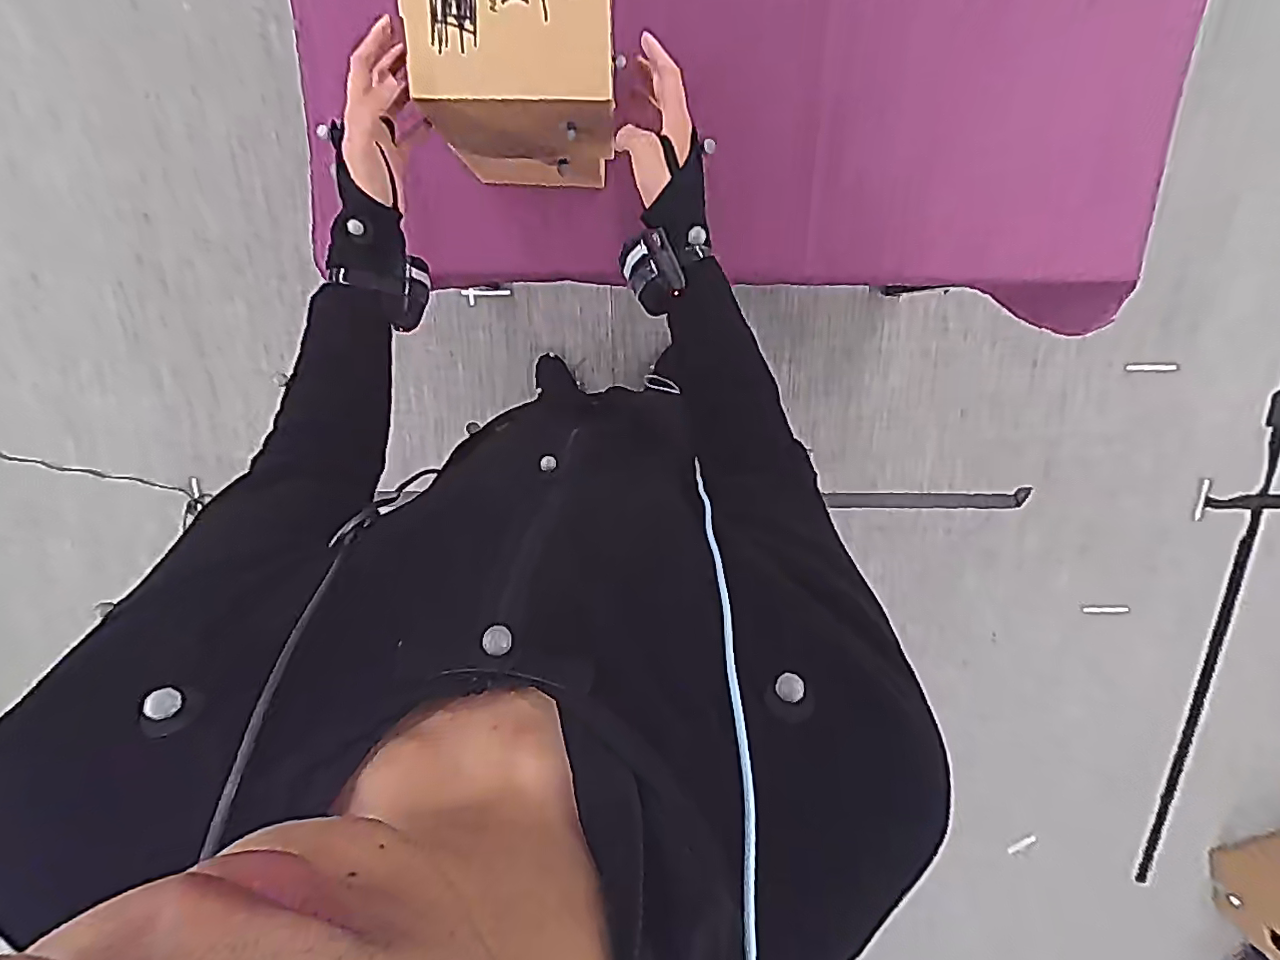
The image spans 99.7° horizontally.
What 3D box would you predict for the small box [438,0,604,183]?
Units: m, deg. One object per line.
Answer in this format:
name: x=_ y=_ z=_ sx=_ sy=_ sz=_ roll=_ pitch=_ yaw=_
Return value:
small box: x=-0.134 y=-0.480 z=0.668 sx=0.179 sy=0.176 sz=0.168 roll=2 pitch=105 yaw=-2
